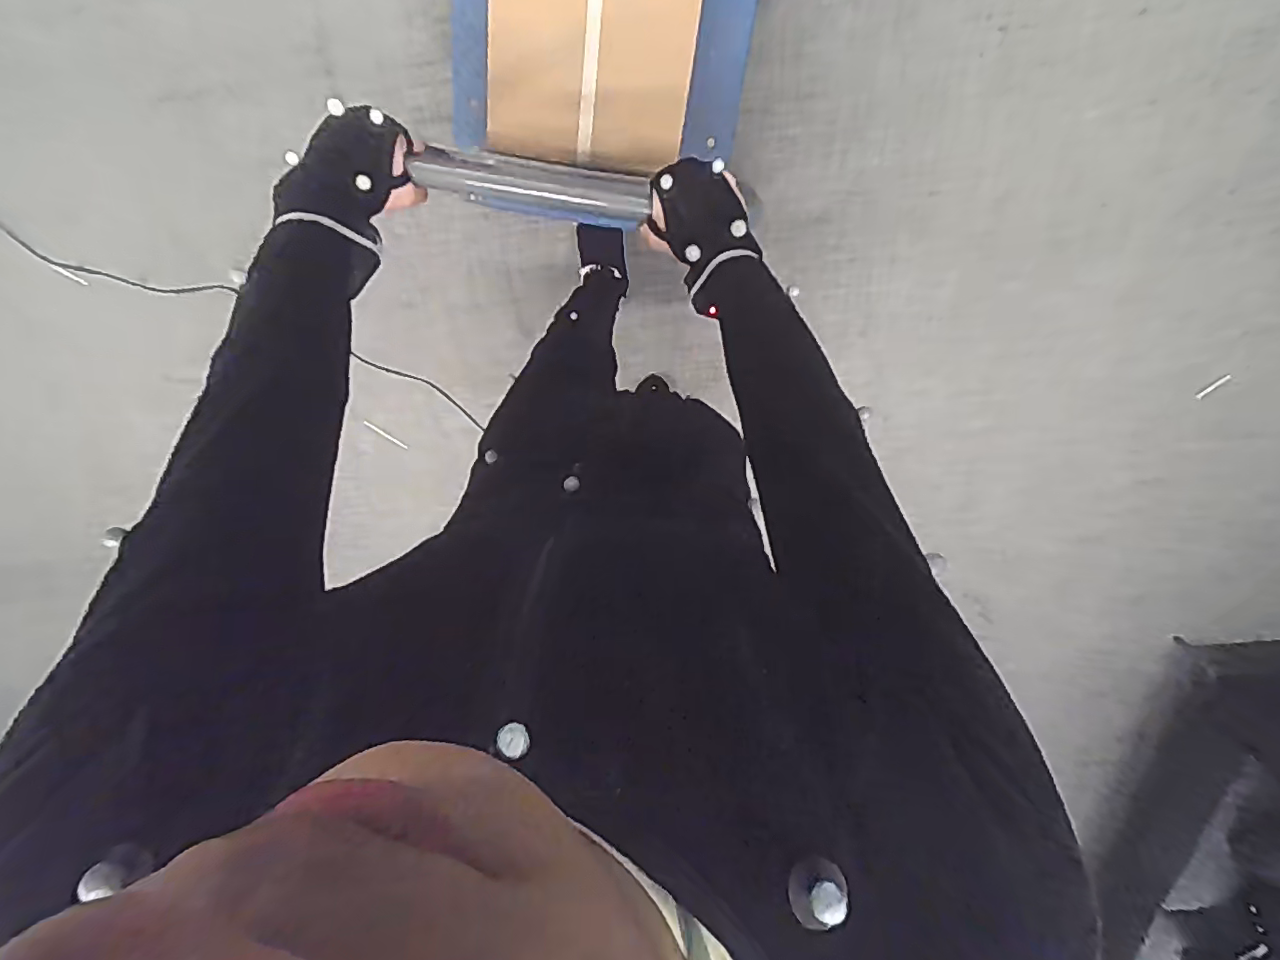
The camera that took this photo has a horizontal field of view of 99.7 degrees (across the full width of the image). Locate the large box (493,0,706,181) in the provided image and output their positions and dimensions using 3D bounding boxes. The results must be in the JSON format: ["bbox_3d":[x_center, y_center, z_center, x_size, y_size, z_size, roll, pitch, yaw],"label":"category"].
[{"bbox_3d":[-0.058,-0.766,0.933,0.320,0.320,0.408,8,117,-4],"label":"large box"}]
